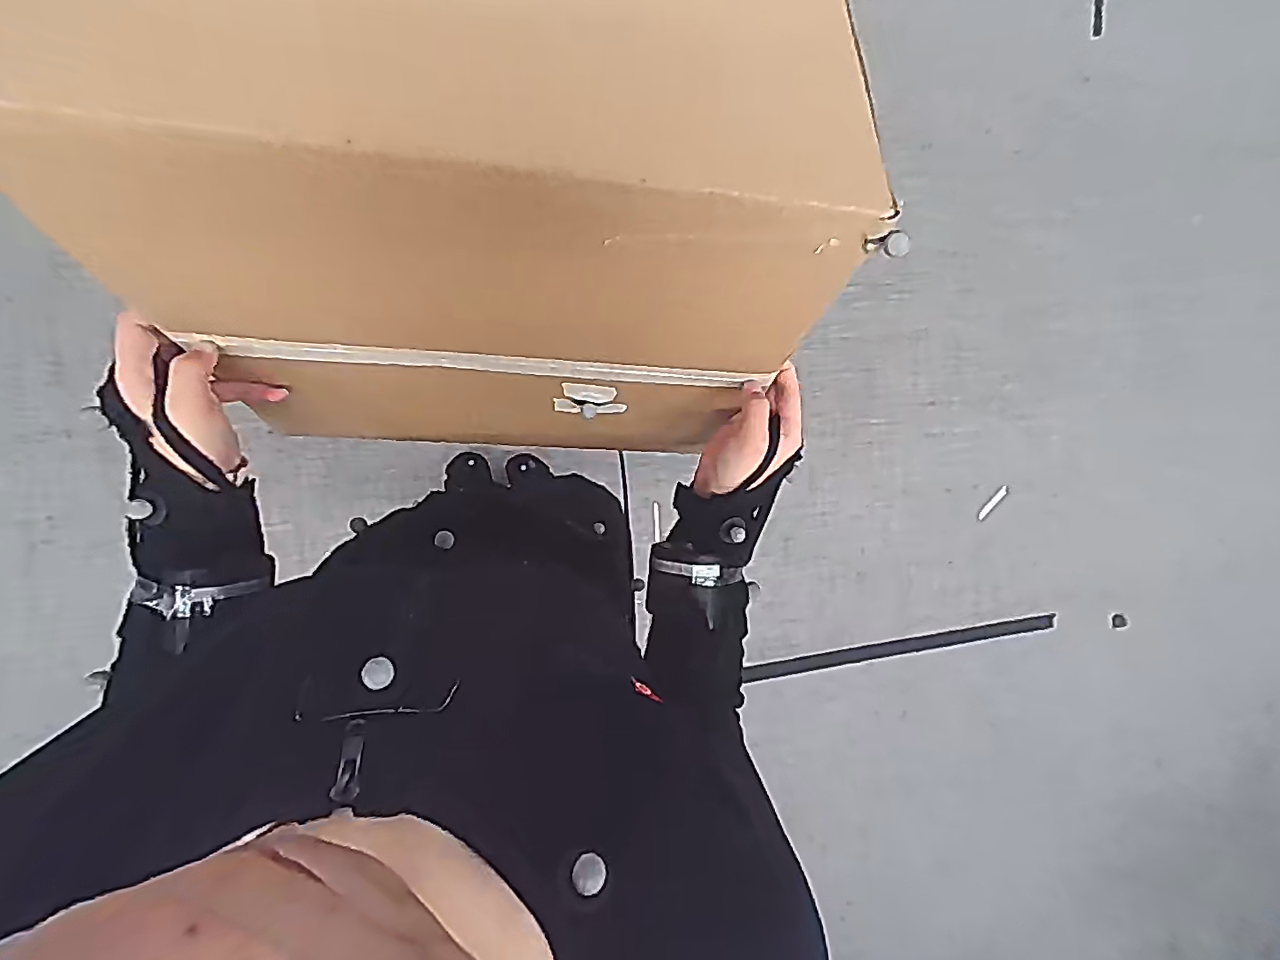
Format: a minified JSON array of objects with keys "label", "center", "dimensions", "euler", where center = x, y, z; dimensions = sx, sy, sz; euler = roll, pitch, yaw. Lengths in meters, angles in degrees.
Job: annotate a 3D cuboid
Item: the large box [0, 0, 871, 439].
[{"label":"large box","center":[-0.107,-0.236,0.430],"dimensions":[0.408,0.320,0.320],"euler":[1,72,-9]}]
